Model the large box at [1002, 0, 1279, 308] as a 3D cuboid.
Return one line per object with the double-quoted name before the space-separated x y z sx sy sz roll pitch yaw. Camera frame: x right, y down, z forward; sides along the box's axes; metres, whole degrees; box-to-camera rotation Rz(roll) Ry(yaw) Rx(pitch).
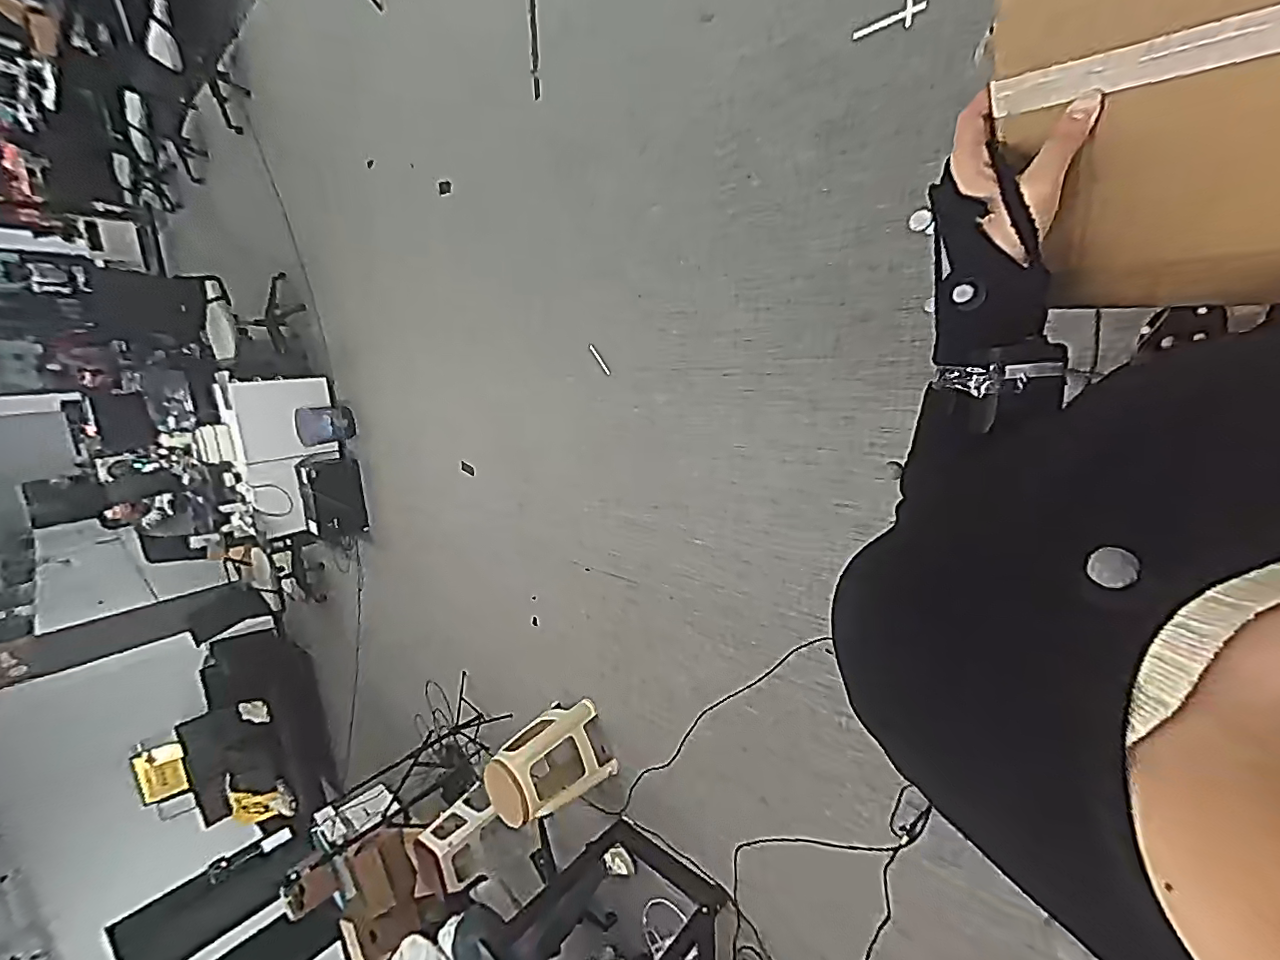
"large box" 0.458 -0.319 0.276 0.408 0.320 0.320 13 146 43
